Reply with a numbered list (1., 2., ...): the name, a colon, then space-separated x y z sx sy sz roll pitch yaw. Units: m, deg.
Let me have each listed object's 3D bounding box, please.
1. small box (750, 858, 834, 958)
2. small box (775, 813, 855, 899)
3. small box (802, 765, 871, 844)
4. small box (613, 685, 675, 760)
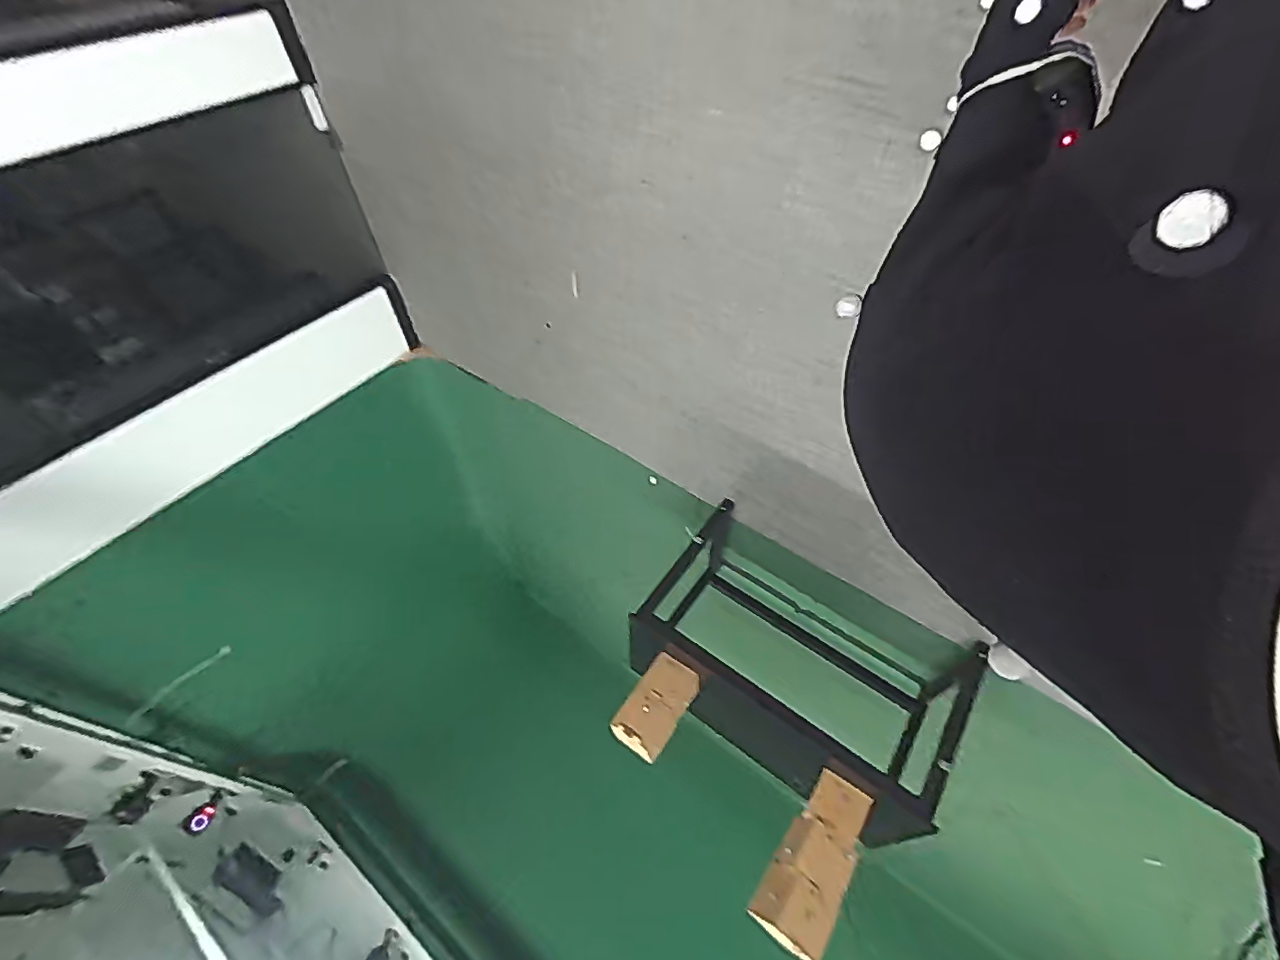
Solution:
1. small box: 0.488 1.346 1.715 0.168 0.176 0.179 44 149 1
2. small box: 0.584 1.237 1.793 0.168 0.176 0.179 38 150 10
3. small box: 0.679 1.132 1.876 0.168 0.176 0.179 26 145 29
4. small box: 0.021 0.913 2.043 0.168 0.176 0.179 25 146 27
